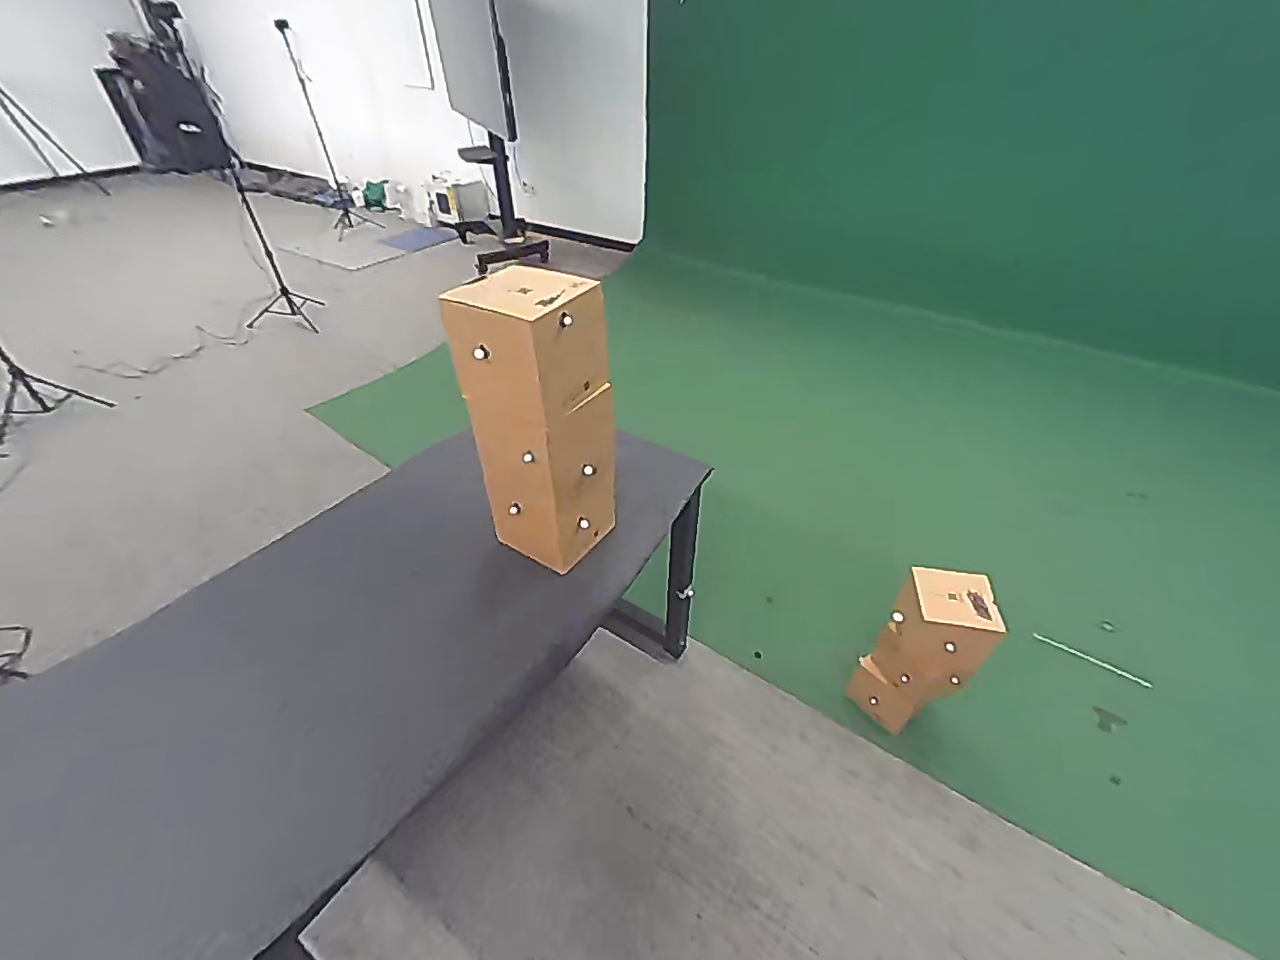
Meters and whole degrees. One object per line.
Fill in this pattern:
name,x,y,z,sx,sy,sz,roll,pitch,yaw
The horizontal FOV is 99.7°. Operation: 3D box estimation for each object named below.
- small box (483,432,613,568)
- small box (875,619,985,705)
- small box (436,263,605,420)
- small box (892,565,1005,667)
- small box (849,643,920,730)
small box,-0.165,0.041,1.030,0.179,0.176,0.168,23,45,26
small box,0.744,0.461,1.418,0.179,0.176,0.168,-12,43,-15
small box,-0.169,-0.211,0.819,0.179,0.176,0.168,20,44,24
small box,0.738,0.333,1.315,0.179,0.176,0.168,7,42,9
small box,0.720,0.571,1.540,0.179,0.176,0.168,-28,48,-29
